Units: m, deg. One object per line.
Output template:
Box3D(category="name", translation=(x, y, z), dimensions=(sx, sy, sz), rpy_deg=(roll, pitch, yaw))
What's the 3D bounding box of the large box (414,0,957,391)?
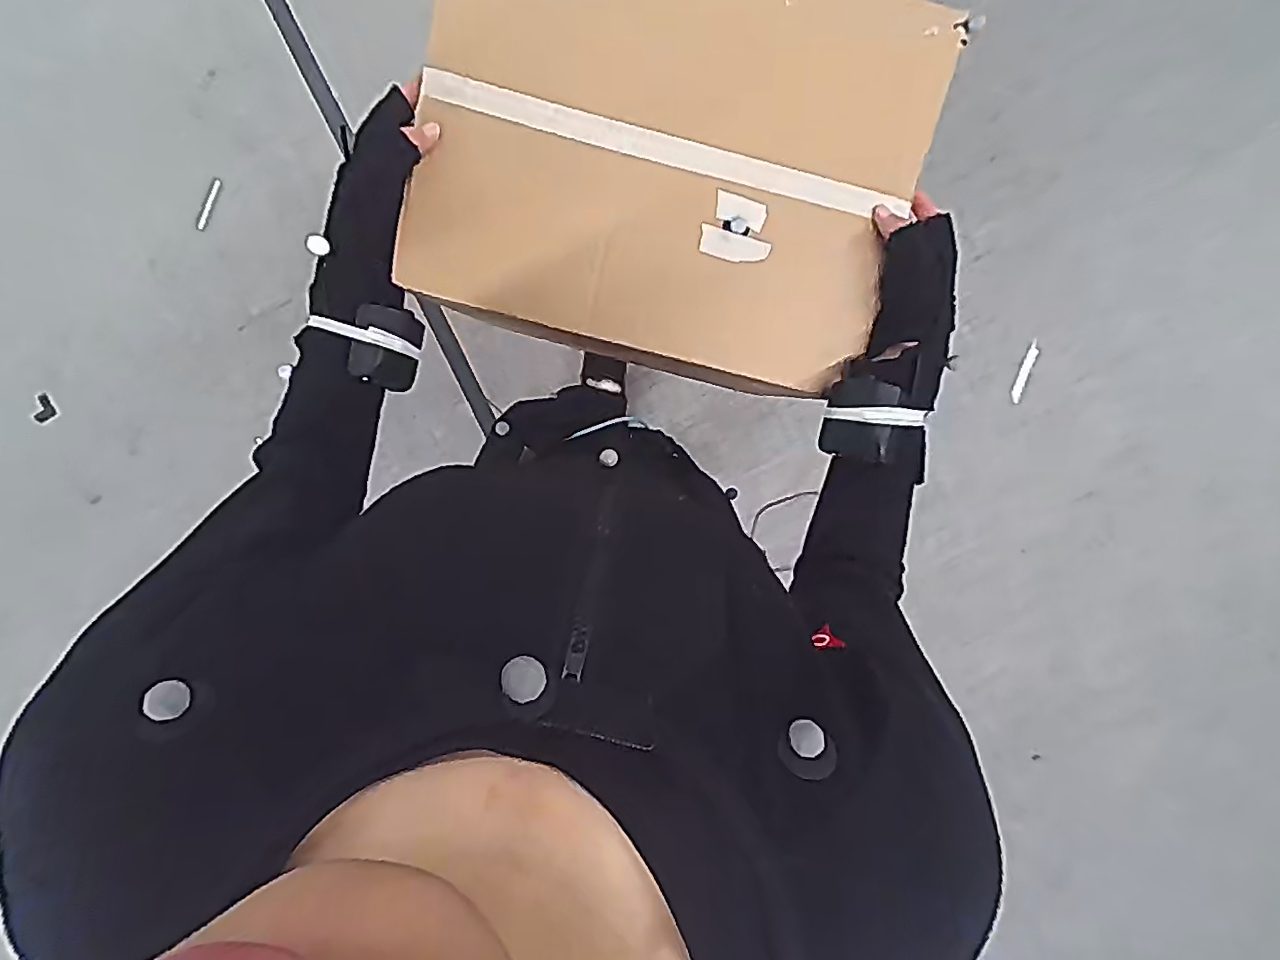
Box3D(category="large box", translation=(0.027, -0.296, 0.597), dimensions=(0.408, 0.320, 0.320), rpy_deg=(14, 100, -5))
